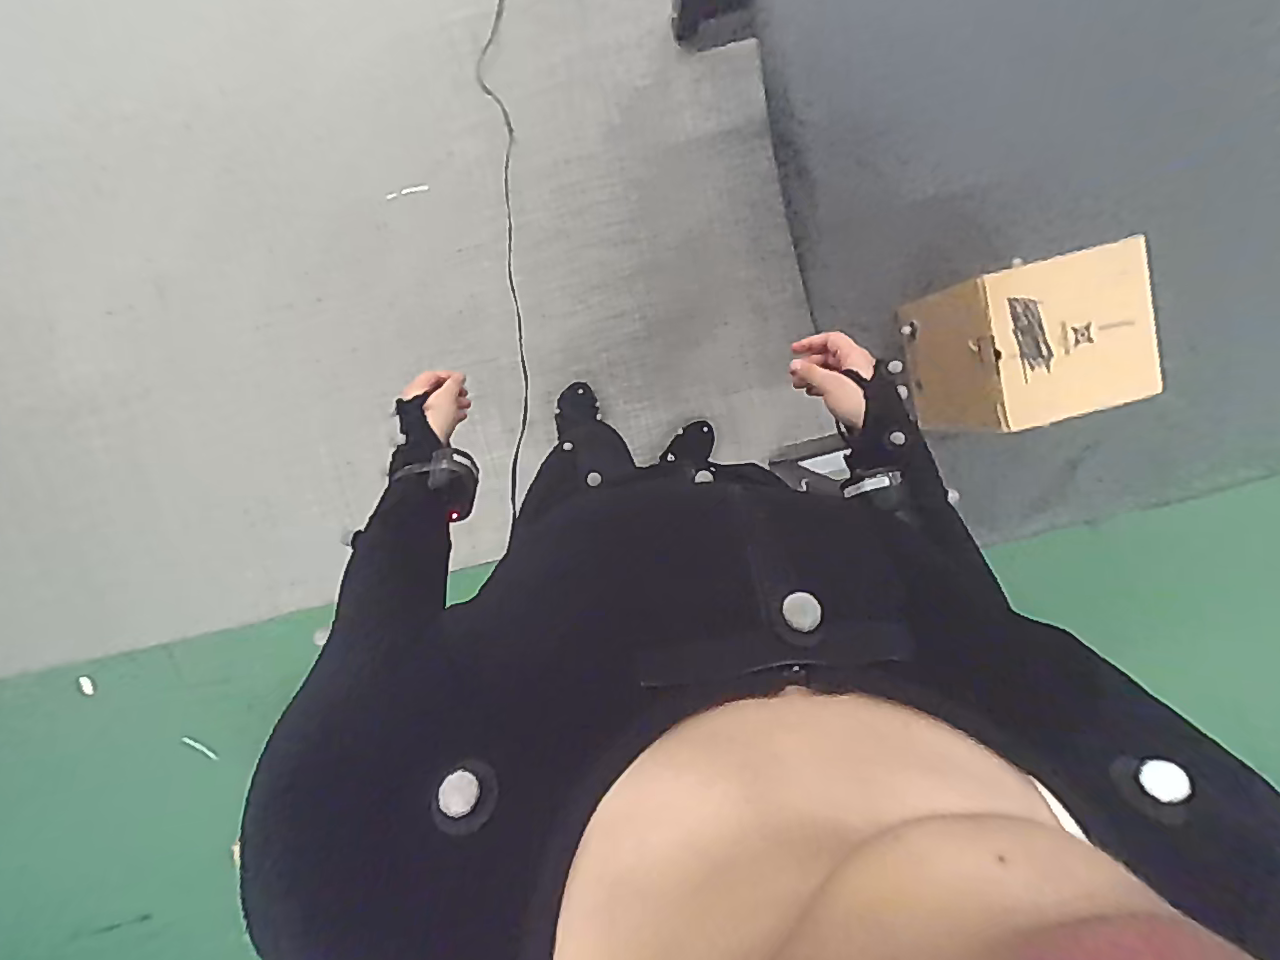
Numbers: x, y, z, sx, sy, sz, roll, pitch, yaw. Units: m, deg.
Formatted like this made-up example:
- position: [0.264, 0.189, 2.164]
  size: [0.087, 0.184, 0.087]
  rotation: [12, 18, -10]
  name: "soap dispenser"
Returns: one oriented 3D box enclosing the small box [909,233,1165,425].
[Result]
- position: [0.443, -0.161, 0.635]
  size: [0.179, 0.176, 0.168]
  rotation: [-14, 97, -1]
  name: "small box"
